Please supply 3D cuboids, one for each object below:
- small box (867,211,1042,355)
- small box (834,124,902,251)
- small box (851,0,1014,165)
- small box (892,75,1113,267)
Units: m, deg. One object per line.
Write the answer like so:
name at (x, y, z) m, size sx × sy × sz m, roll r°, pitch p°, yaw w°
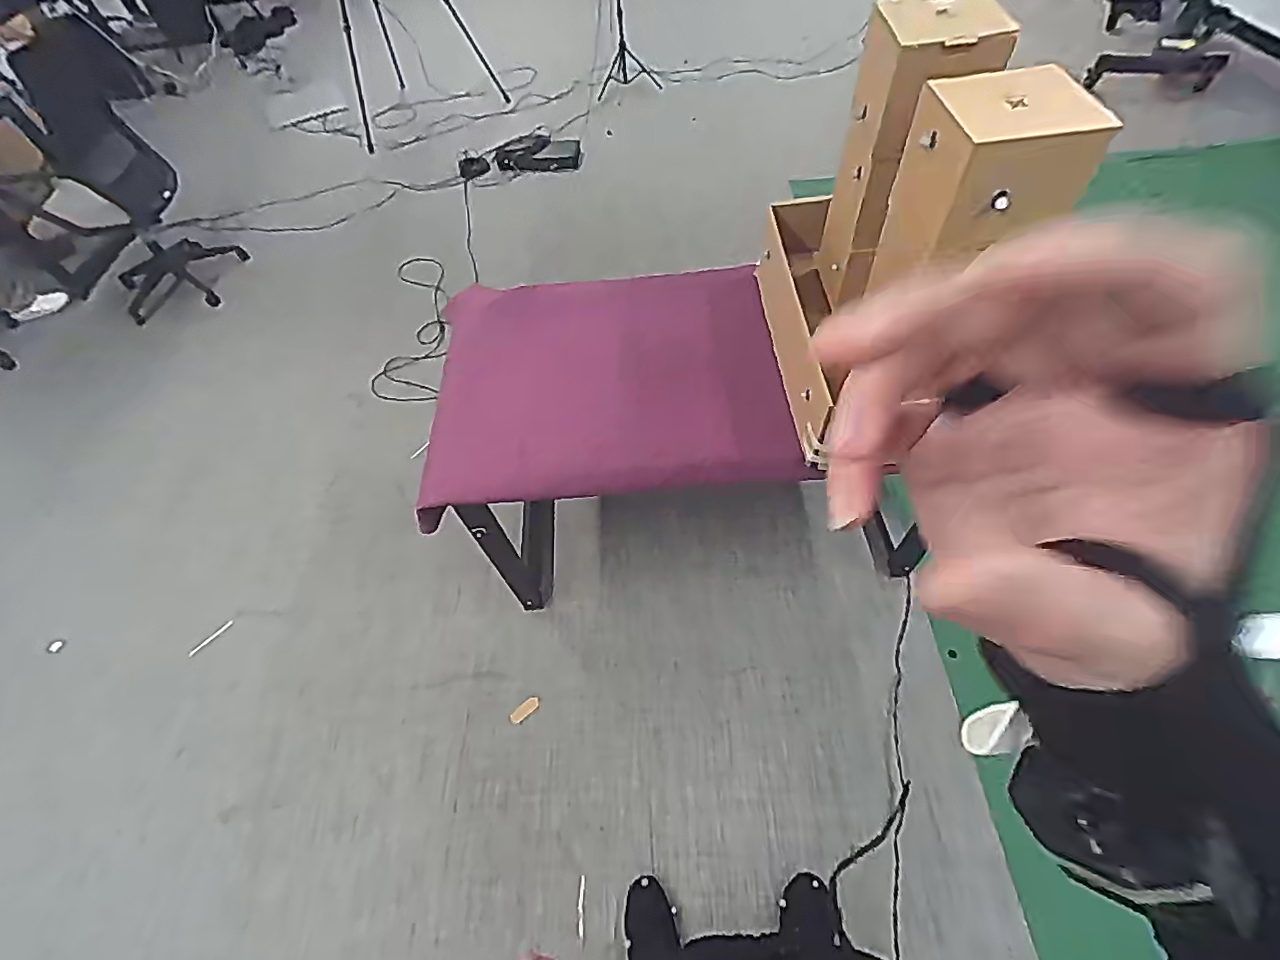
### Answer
small box at (0.484, -0.315, 0.865) m, size 0.168 × 0.176 × 0.179 m, roll -4°, pitch 55°, yaw 4°
small box at (0.480, -0.554, 1.025) m, size 0.168 × 0.176 × 0.179 m, roll -3°, pitch 57°, yaw 4°
small box at (0.462, -0.642, 0.887) m, size 0.168 × 0.176 × 0.179 m, roll -3°, pitch 58°, yaw 4°
small box at (0.467, -0.408, 0.734) m, size 0.168 × 0.176 × 0.179 m, roll -5°, pitch 54°, yaw 4°
